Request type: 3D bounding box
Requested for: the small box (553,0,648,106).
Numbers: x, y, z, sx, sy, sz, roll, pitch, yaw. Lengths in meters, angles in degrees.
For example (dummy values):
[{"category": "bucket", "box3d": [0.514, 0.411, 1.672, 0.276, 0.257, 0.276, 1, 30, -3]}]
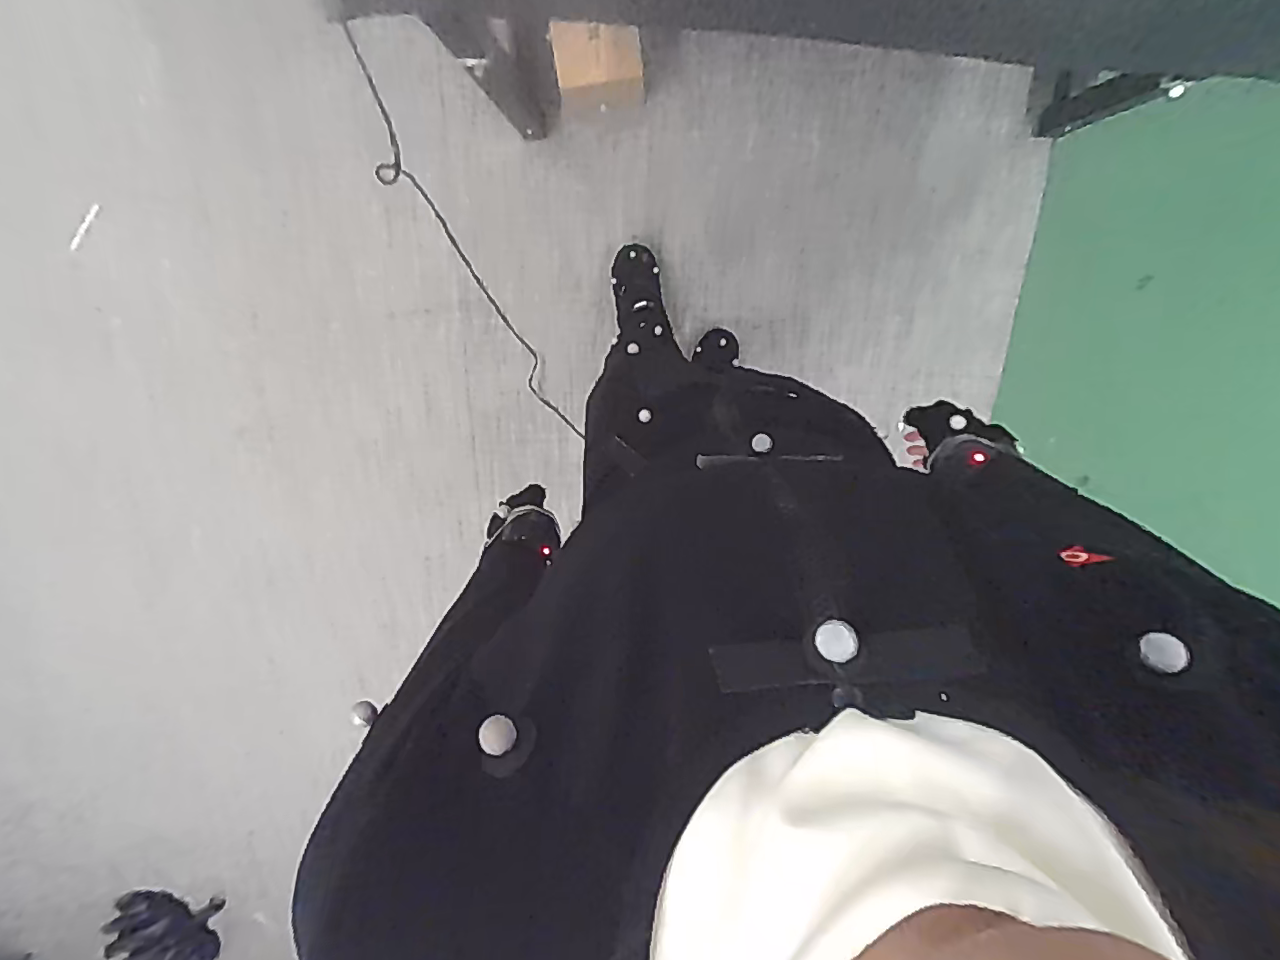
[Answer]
[{"category": "small box", "box3d": [-0.075, -0.878, 1.071, 0.168, 0.176, 0.179, -7, 110, 4]}]
